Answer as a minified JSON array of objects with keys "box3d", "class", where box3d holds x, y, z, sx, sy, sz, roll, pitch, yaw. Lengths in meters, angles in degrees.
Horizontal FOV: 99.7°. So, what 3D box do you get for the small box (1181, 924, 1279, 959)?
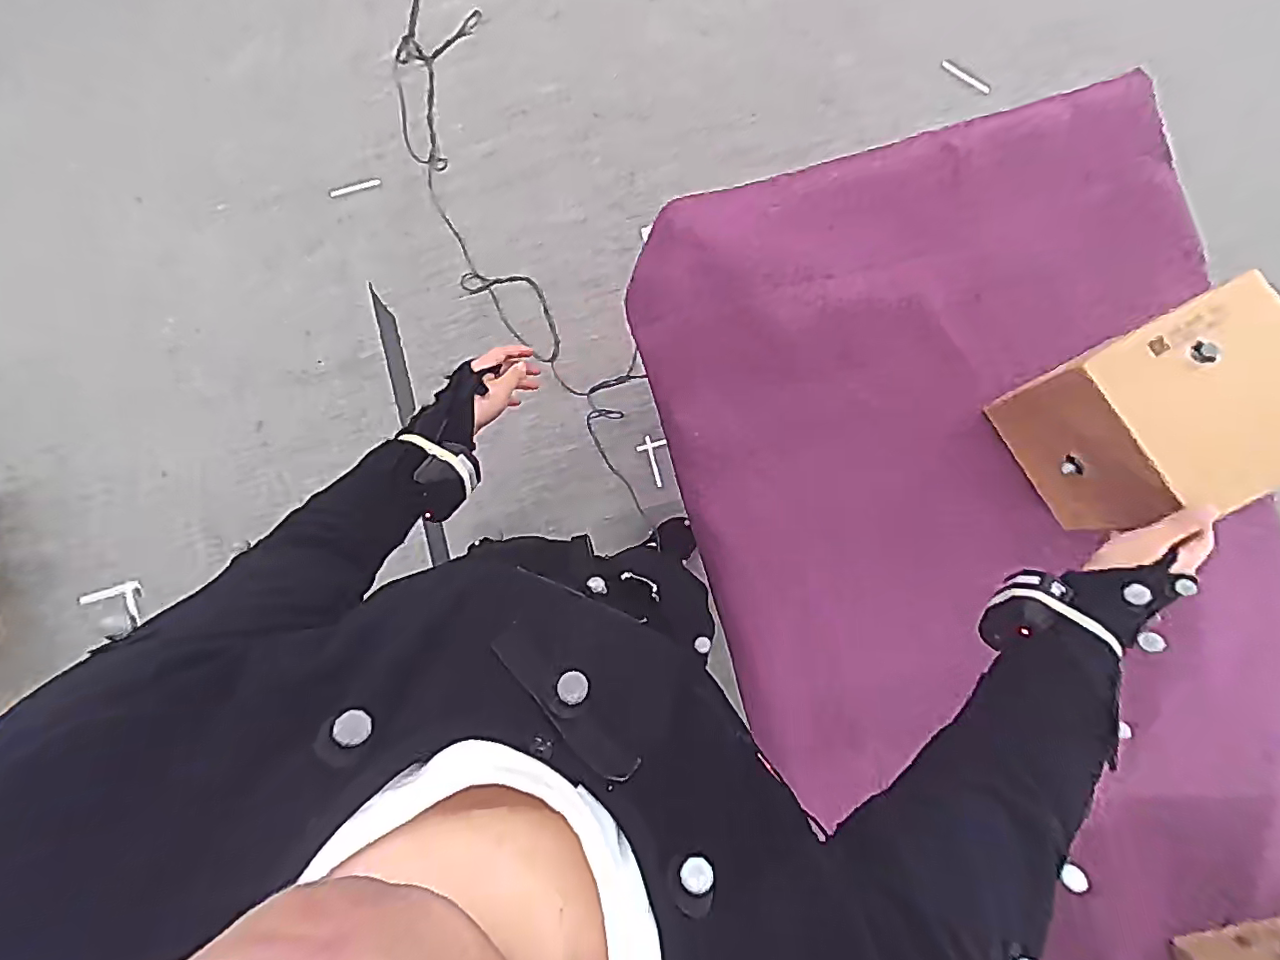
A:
[{"box3d":[0.696,0.583,0.520,0.168,0.176,0.179,-15,88,3],"class":"small box"}]
